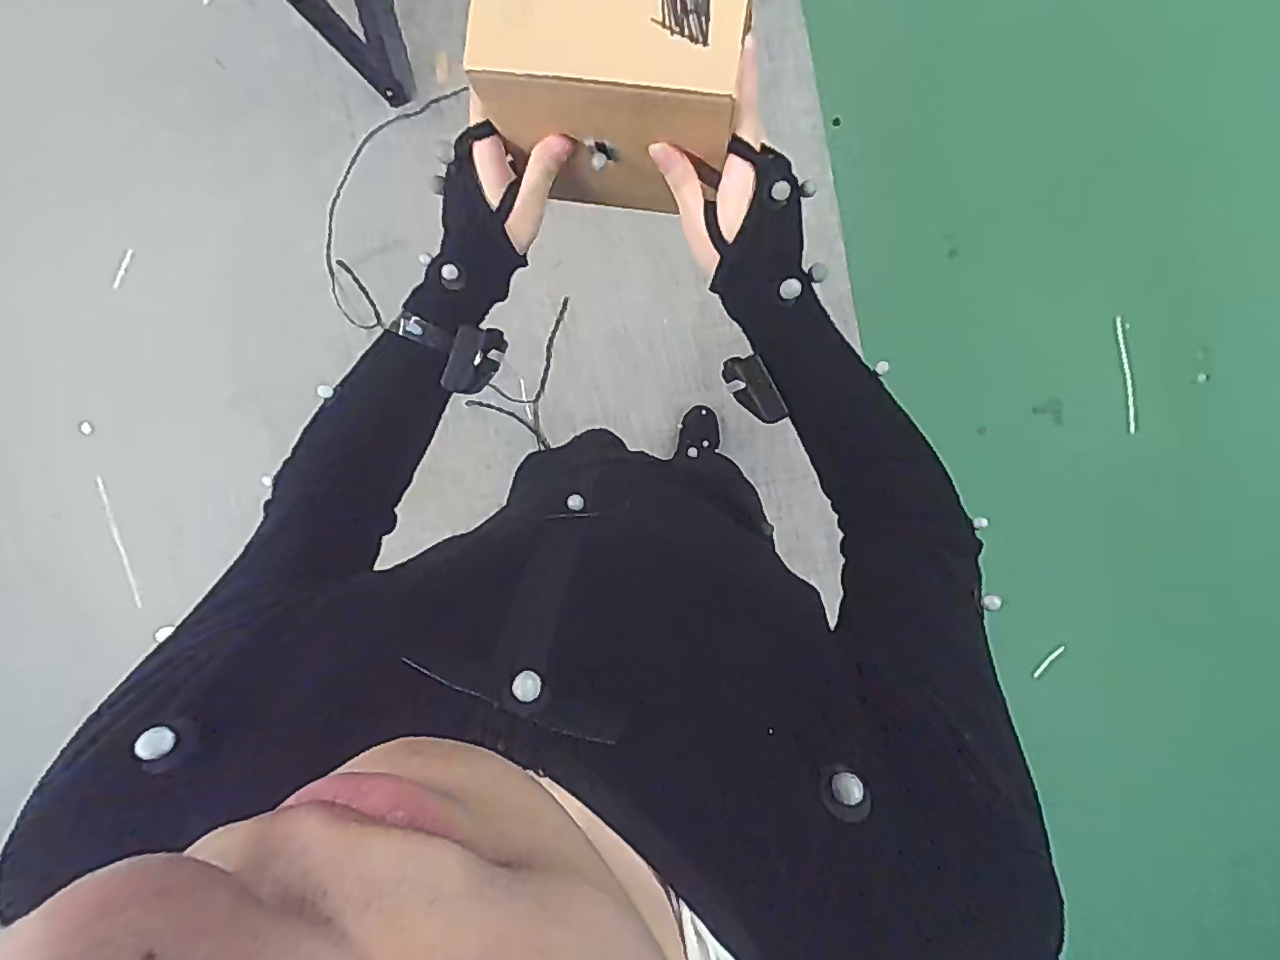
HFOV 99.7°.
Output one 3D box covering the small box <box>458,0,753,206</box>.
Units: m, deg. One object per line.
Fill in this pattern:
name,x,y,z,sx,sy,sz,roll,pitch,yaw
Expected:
small box,-0.009,-0.327,0.402,0.179,0.176,0.168,9,92,6
